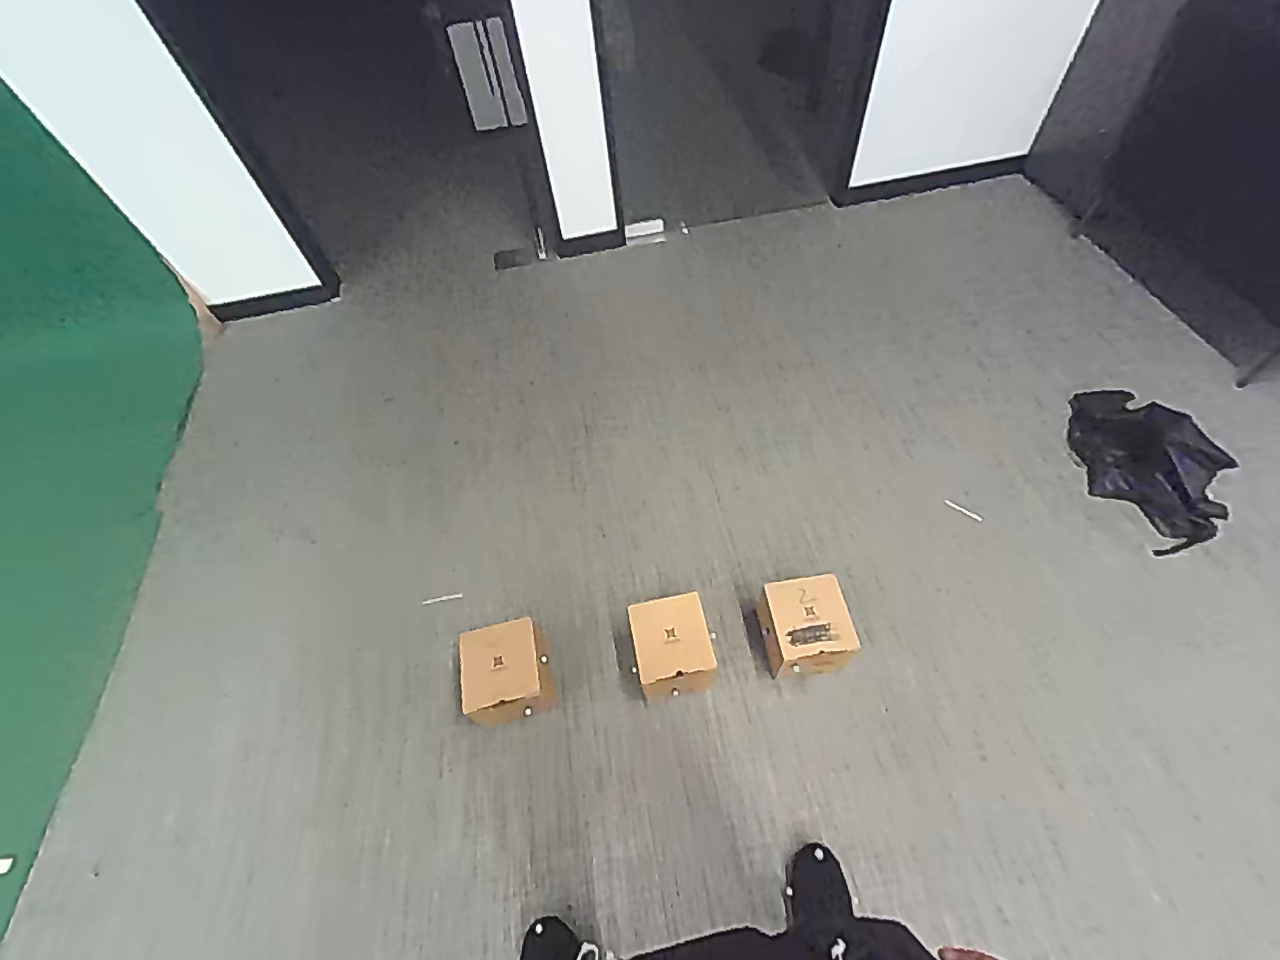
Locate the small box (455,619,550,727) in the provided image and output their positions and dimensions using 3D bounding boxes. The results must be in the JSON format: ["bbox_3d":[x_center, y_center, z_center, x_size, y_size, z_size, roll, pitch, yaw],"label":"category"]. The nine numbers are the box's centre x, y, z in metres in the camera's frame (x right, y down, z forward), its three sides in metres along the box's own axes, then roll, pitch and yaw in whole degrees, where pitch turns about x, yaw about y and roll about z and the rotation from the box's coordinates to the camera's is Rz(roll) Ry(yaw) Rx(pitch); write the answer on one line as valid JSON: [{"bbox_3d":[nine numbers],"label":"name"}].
[{"bbox_3d":[-0.305,0.440,1.213,0.168,0.176,0.179,-13,54,-5],"label":"small box"}]

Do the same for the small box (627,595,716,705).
[{"bbox_3d":[0.066,0.385,1.219,0.168,0.176,0.179,-11,56,-3],"label":"small box"}]
